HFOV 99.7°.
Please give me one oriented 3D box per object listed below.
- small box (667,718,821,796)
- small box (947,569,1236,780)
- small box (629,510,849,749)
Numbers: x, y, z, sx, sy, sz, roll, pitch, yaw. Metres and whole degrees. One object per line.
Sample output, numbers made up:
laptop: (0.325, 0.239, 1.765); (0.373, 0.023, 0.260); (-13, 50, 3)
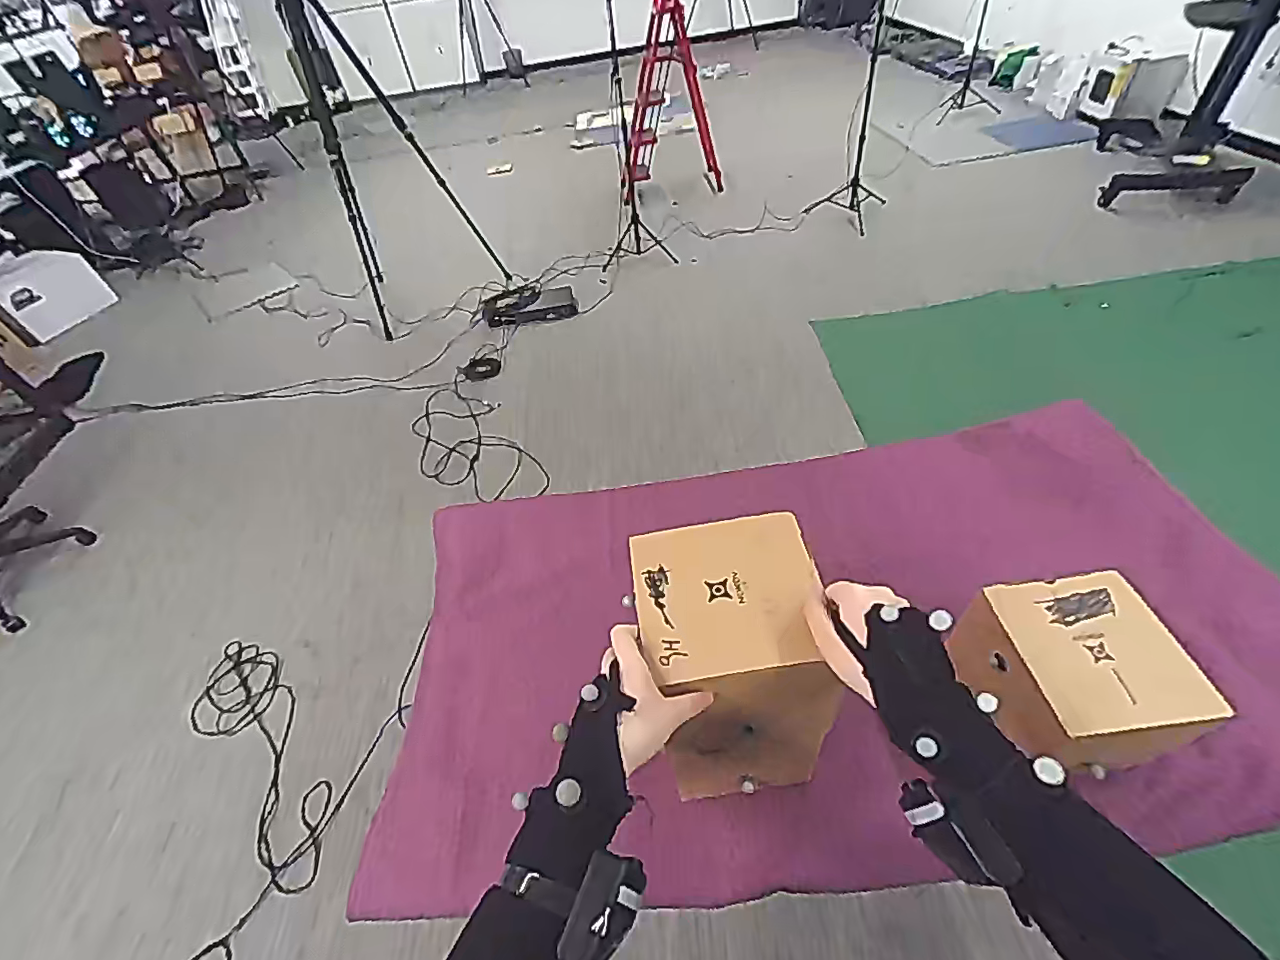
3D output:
small box: (0.109, 0.265, 0.672); (0.168, 0.176, 0.179); (-9, 45, 1)
small box: (0.501, 0.232, 0.642); (0.168, 0.176, 0.179); (-8, 47, 2)
small box: (0.087, 0.154, 0.552); (0.179, 0.176, 0.168); (-8, 44, 1)
